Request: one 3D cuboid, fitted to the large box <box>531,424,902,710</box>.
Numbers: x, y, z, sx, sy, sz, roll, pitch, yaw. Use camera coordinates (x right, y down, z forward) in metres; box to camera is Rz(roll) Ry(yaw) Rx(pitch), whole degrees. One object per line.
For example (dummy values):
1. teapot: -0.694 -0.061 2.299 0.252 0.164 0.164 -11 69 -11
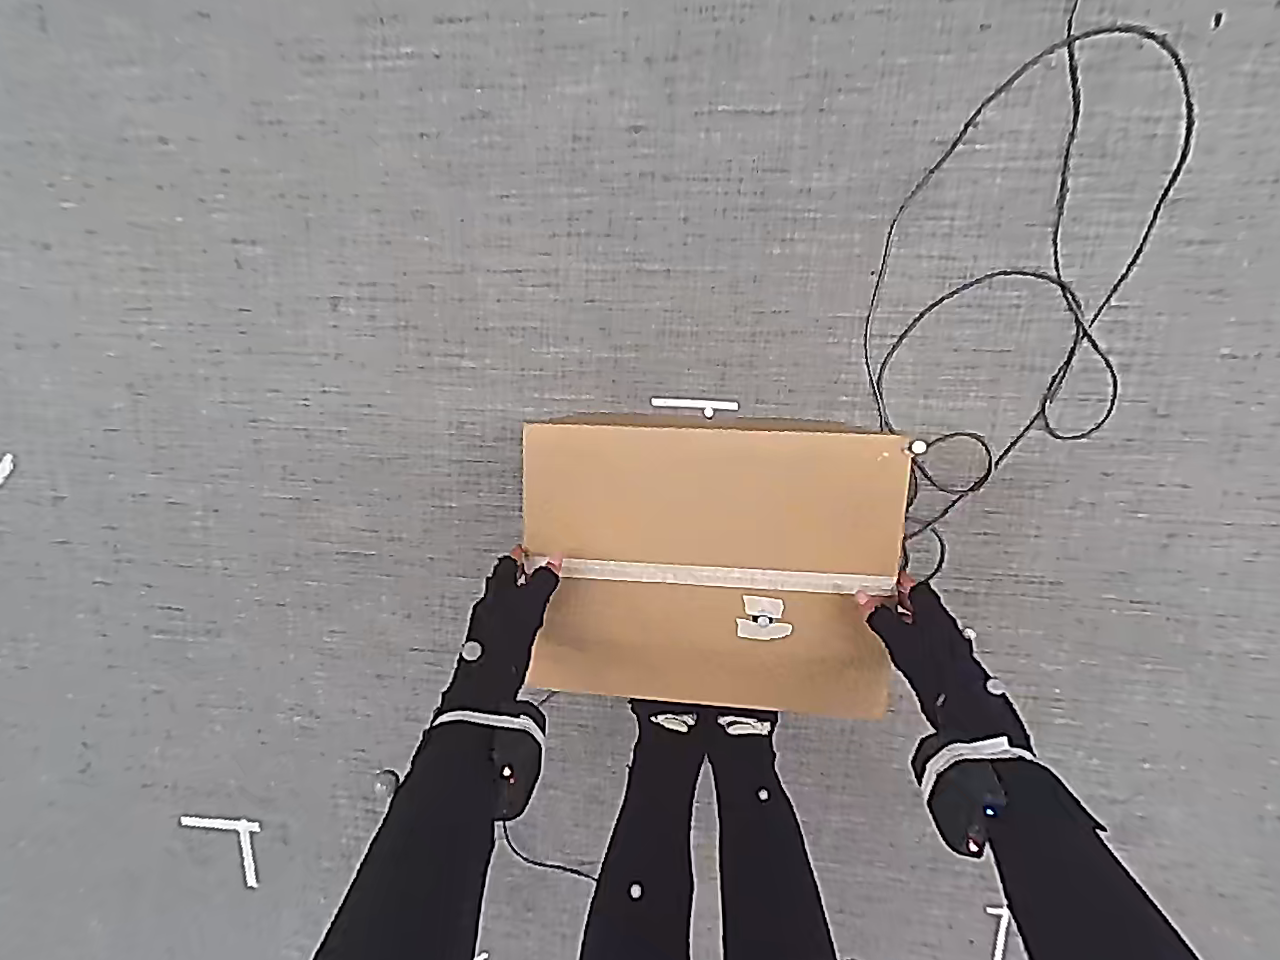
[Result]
1. large box: 0.089 0.081 0.749 0.408 0.320 0.320 2 100 6
